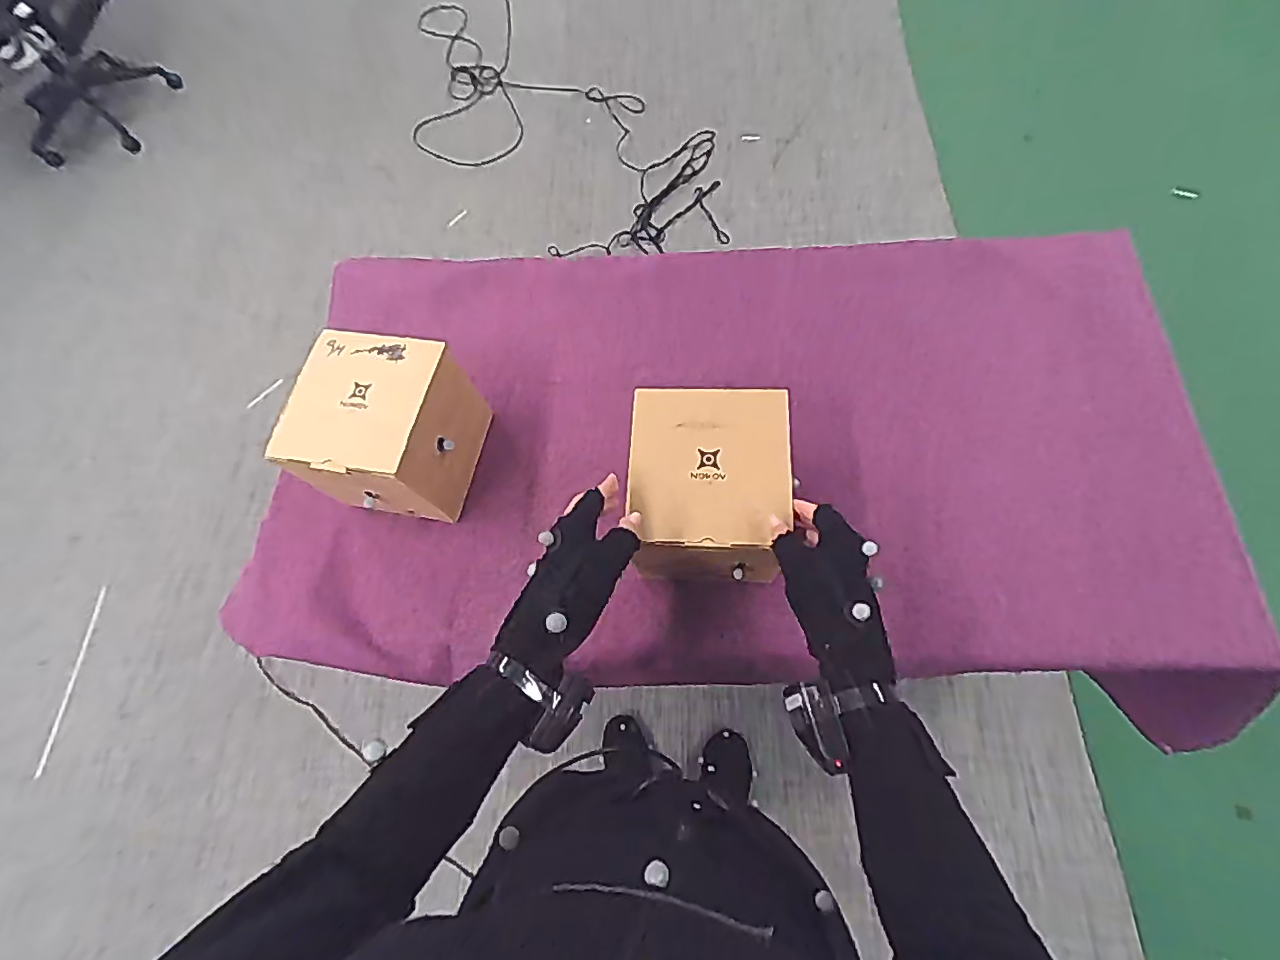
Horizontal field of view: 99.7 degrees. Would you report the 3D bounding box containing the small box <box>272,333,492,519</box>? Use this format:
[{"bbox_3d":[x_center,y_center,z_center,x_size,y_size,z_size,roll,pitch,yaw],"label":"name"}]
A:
[{"bbox_3d":[-0.310,-0.061,0.694,0.168,0.176,0.179,9,70,9],"label":"small box"}]

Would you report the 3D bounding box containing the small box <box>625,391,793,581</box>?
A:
[{"bbox_3d":[0.080,0.015,0.624,0.168,0.176,0.179,2,68,6],"label":"small box"}]
